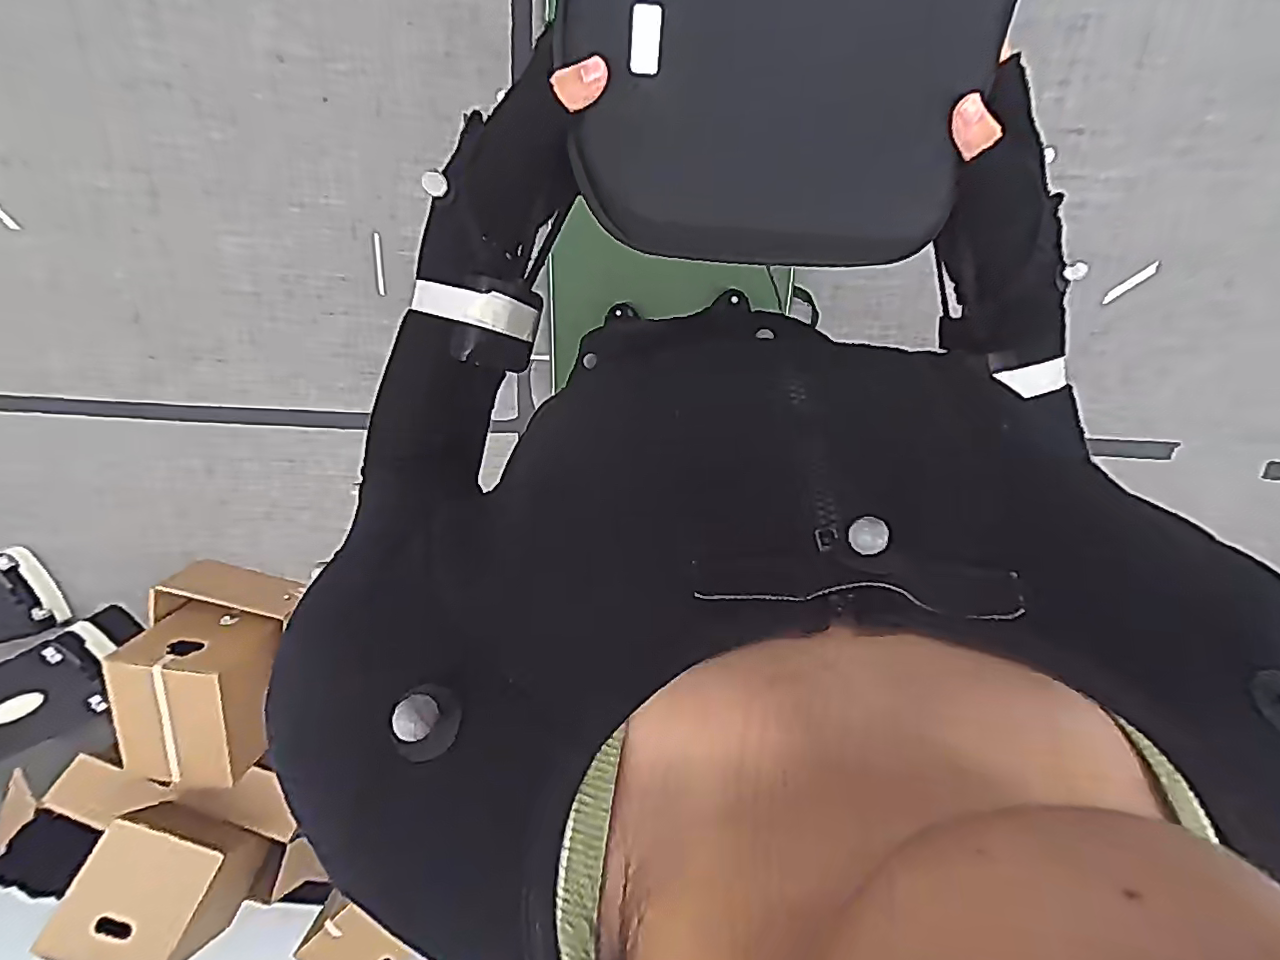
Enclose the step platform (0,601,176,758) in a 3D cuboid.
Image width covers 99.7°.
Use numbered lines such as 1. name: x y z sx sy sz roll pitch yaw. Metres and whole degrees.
1. step platform: -1.938 0.667 1.792 0.684 0.204 0.286 -25 106 10
